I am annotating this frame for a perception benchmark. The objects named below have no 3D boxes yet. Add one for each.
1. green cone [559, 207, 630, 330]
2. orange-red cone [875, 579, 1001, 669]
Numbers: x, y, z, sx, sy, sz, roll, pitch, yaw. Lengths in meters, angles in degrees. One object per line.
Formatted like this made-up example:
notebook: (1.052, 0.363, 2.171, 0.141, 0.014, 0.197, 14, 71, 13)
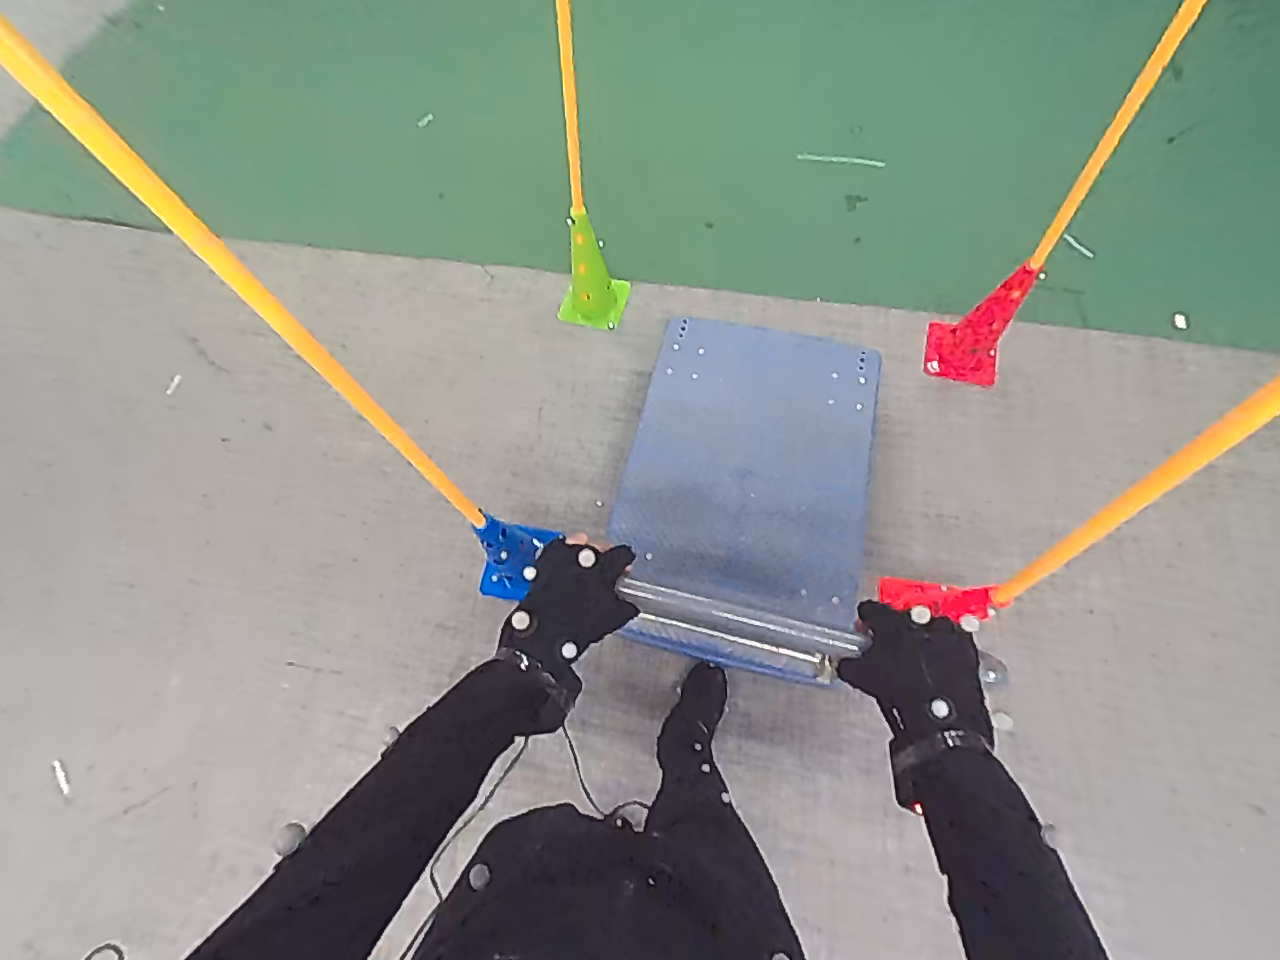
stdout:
green cone: (-0.157, -0.648, 1.606, 0.202, 0.368, 0.200, 13, 68, 9)
orange-red cone: (0.673, 0.286, 1.180, 0.199, 0.360, 0.198, 8, 67, 8)
